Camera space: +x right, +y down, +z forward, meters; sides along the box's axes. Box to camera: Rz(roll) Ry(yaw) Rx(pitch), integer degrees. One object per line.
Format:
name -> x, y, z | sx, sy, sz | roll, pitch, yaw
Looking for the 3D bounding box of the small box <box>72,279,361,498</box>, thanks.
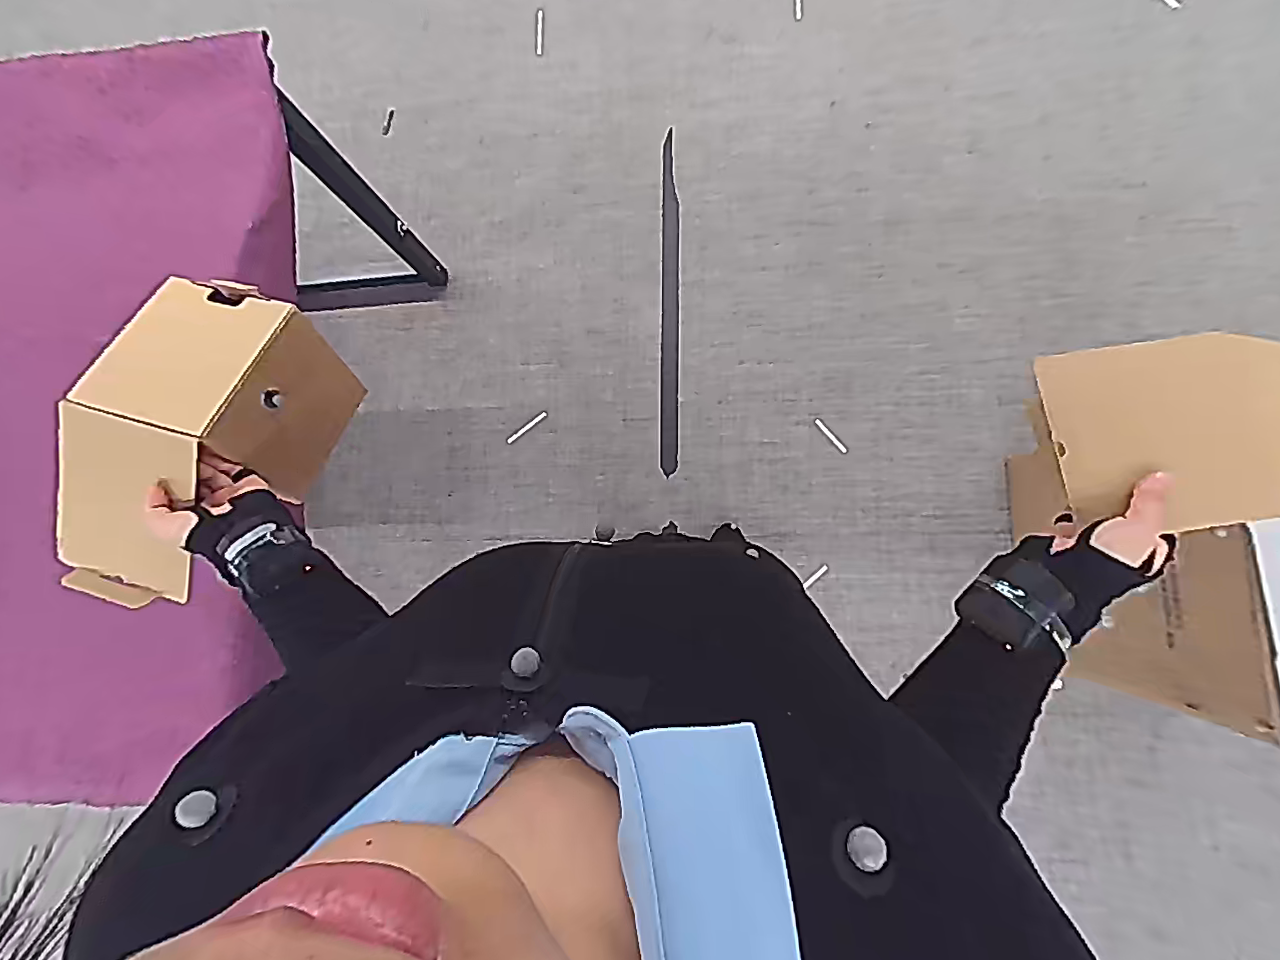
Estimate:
small box -> -0.470, -0.099, 0.638 | 0.168, 0.176, 0.179 | 15, 66, 8
